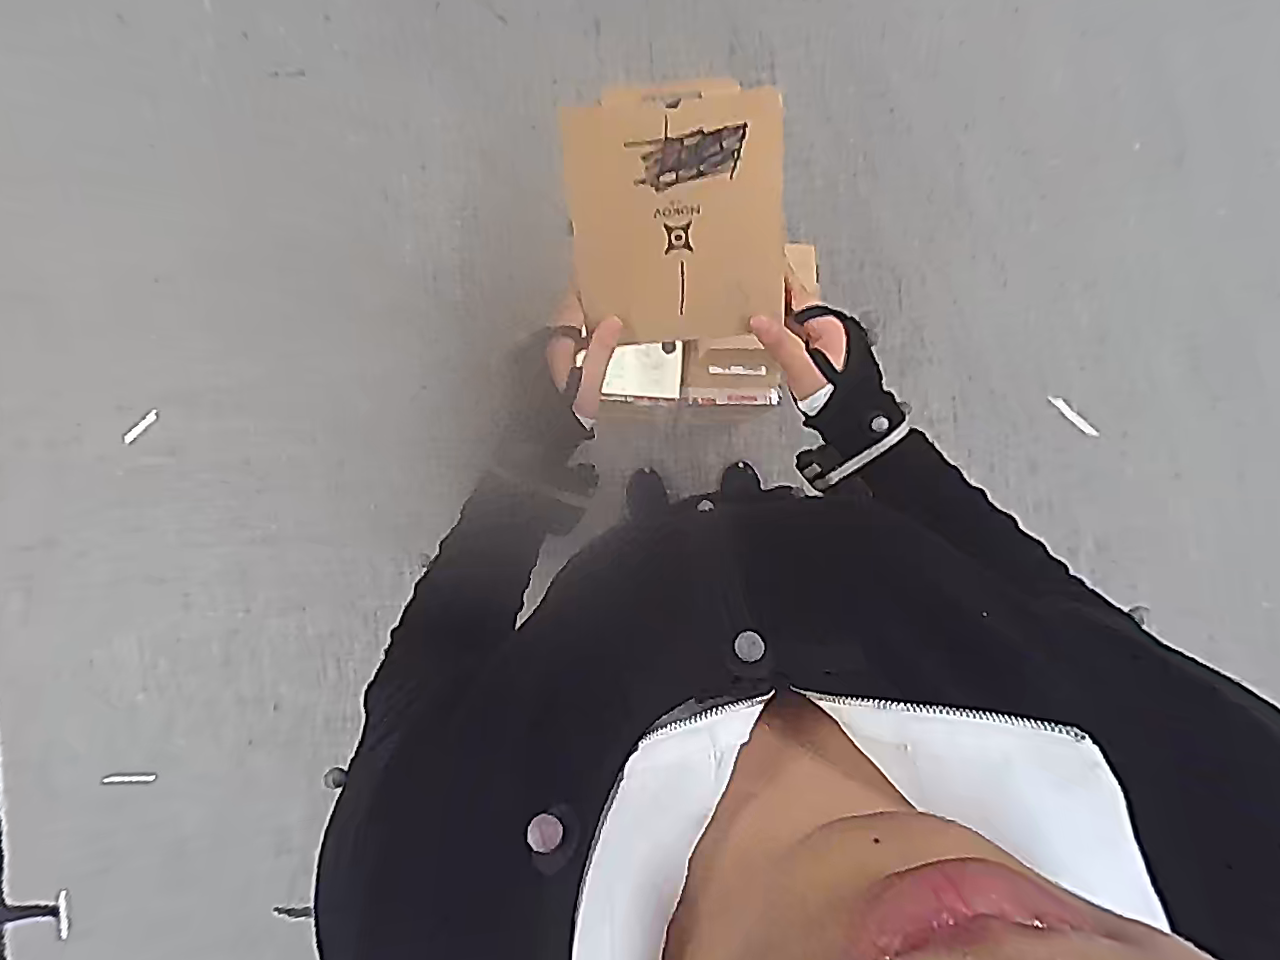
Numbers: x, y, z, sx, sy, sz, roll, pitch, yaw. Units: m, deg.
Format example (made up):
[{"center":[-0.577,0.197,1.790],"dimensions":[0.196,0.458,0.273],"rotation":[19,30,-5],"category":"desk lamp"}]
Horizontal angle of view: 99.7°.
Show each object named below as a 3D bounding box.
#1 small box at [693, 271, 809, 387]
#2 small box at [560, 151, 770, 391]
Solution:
[{"center":[0.183,-0.258,0.949],"dimensions":[0.179,0.176,0.168],"rotation":[0,92,0],"category":"small box"},{"center":[0.021,-0.187,0.517],"dimensions":[0.168,0.176,0.179],"rotation":[-6,107,0],"category":"small box"}]
